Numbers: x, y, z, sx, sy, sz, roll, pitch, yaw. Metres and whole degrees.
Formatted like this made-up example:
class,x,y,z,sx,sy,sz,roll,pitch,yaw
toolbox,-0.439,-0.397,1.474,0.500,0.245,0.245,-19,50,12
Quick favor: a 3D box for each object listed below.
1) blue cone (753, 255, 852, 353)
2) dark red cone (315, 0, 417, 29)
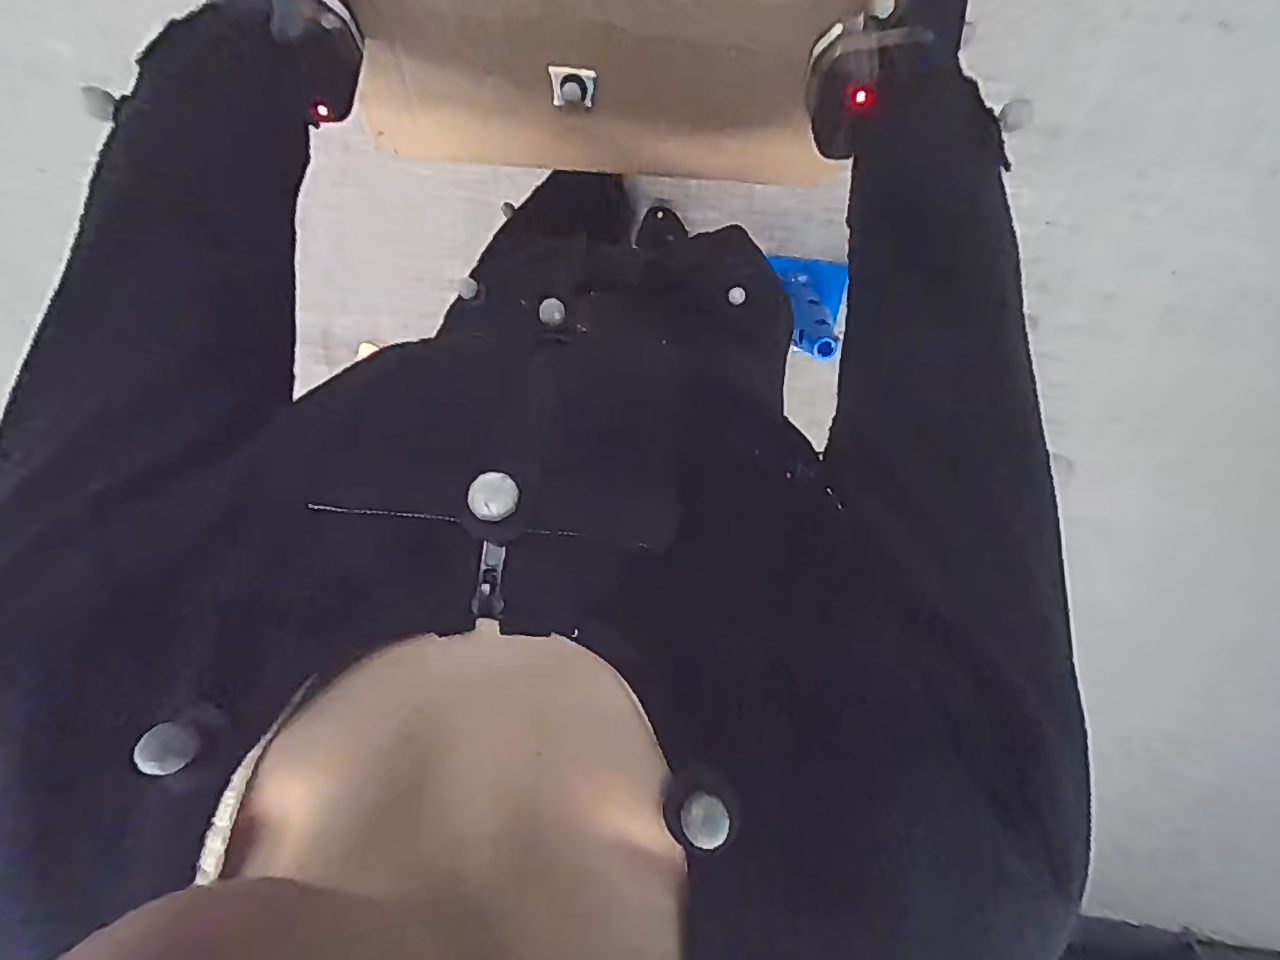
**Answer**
class,x,y,z,sx,sy,sz,roll,pitch,yaw
blue cone,0.336,-0.312,1.042,0.192,0.380,0.193,8,119,2
dark red cone,-0.516,-0.858,0.808,0.202,0.394,0.201,2,115,6
